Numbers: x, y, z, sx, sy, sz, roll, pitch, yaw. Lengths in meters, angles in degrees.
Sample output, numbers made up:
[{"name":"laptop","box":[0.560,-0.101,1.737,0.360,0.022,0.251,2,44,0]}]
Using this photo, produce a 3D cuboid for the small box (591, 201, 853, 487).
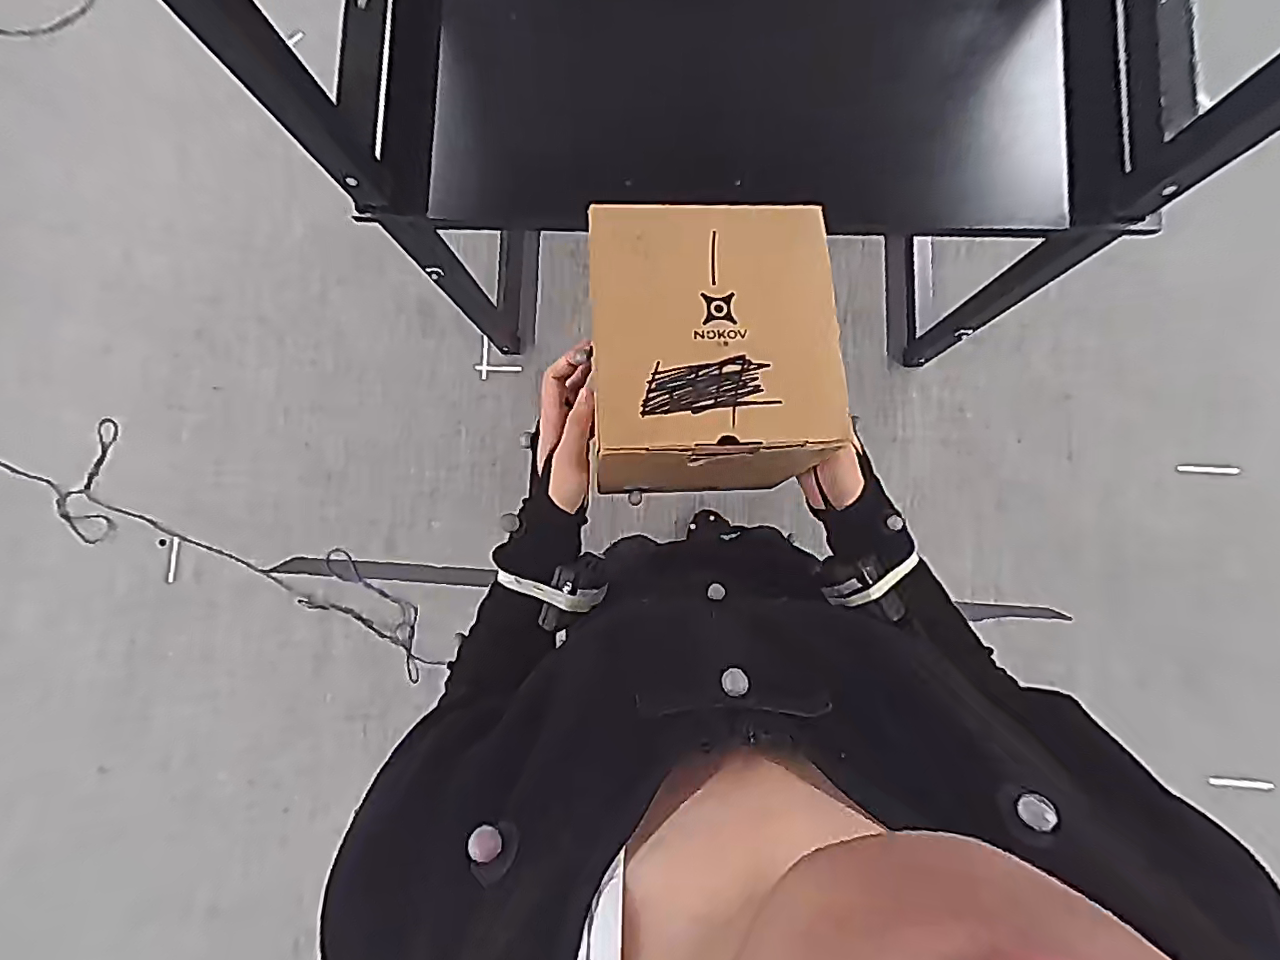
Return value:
[{"name":"small box","box":[0.047,-0.091,0.434,0.168,0.176,0.179,-2,79,-5]}]
